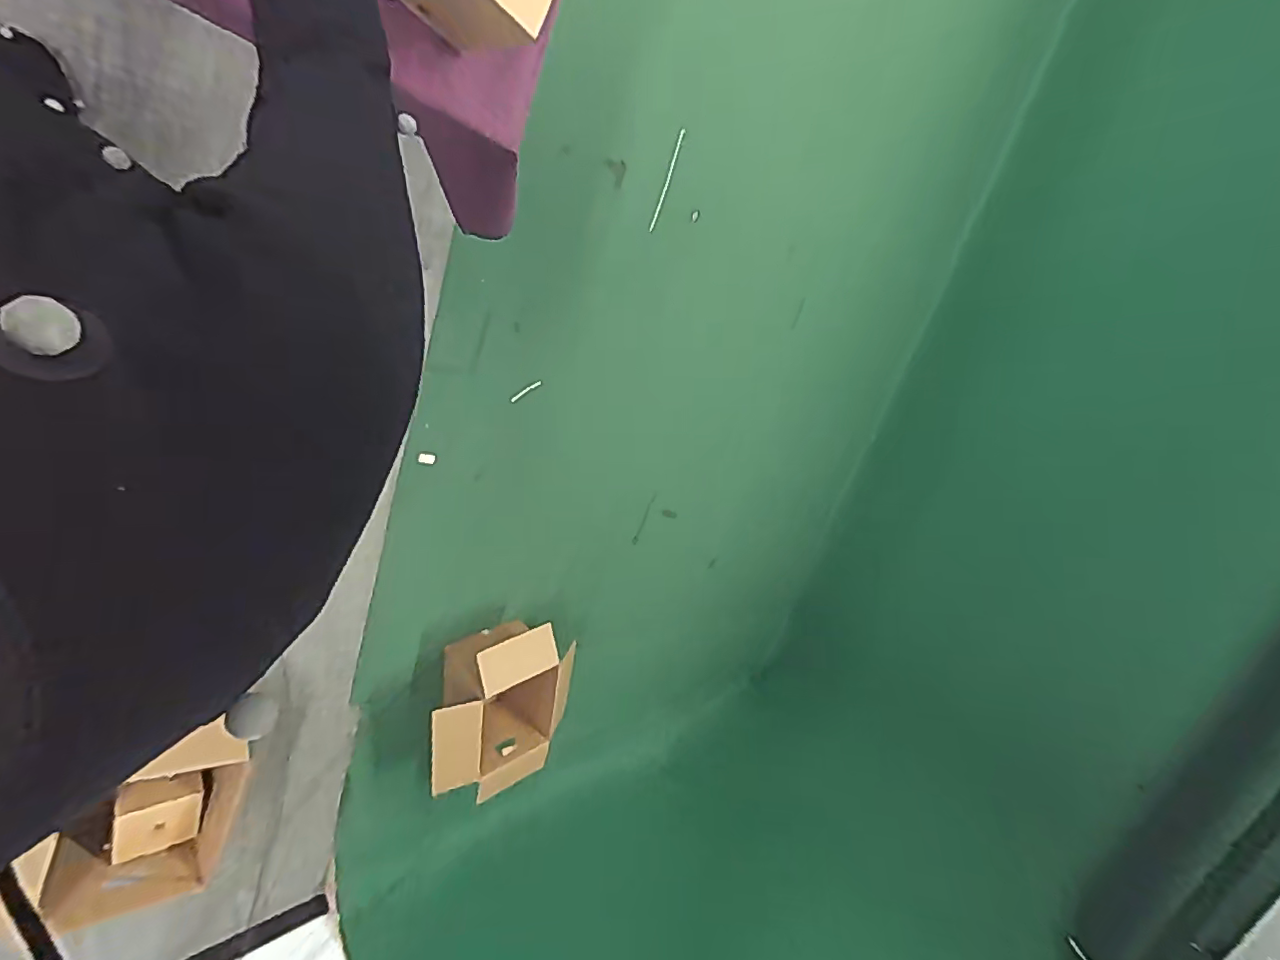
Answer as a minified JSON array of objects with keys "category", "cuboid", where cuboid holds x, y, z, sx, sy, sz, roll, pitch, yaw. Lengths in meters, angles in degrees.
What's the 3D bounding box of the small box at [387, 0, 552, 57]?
[{"category":"small box","cuboid":[-0.173,-0.546,0.508,0.168,0.176,0.179,16,103,-49]}]
